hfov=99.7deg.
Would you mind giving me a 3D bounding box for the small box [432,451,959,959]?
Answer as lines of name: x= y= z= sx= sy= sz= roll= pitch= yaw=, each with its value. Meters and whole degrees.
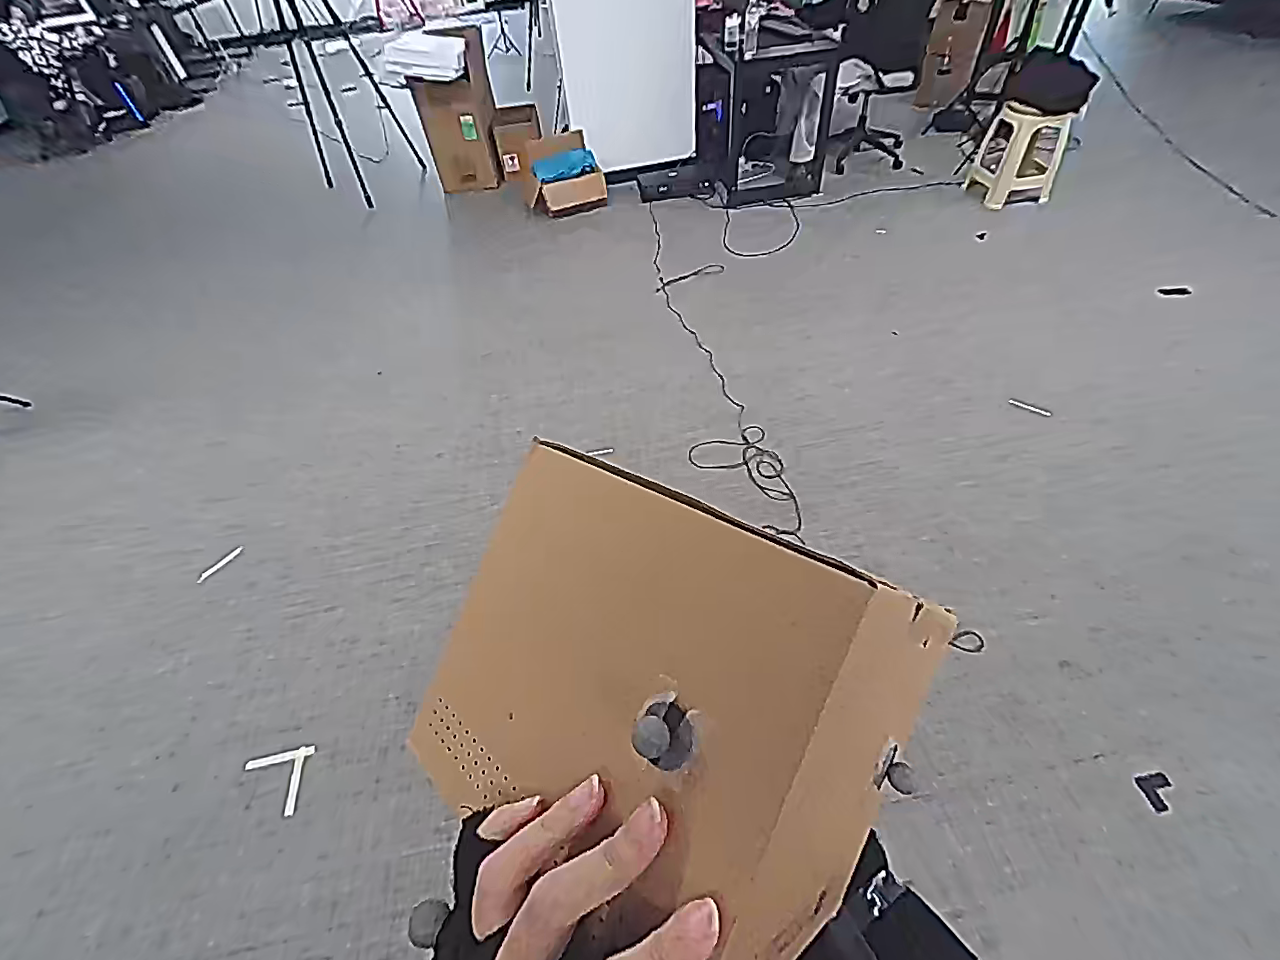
small box: x=0.027 y=0.106 z=0.278 sx=0.179 sy=0.168 sz=0.176 roll=23 pitch=90 yaw=40
